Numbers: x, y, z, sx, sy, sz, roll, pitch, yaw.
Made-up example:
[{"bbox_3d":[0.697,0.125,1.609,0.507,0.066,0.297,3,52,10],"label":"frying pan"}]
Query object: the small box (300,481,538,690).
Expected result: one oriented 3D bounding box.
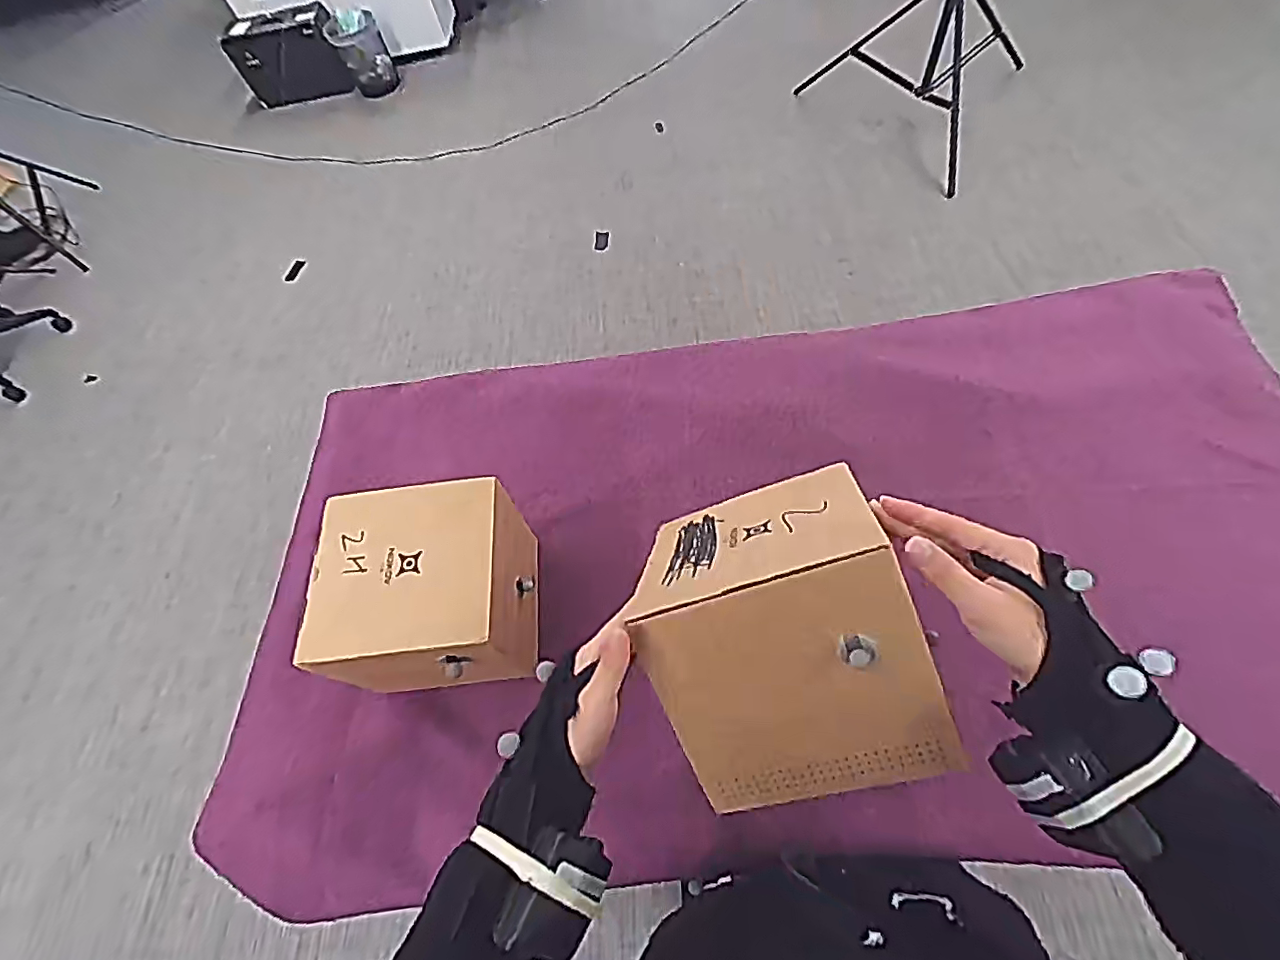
[{"bbox_3d":[-0.210,0.119,0.576,0.179,0.176,0.168,-7,60,2],"label":"small box"}]
